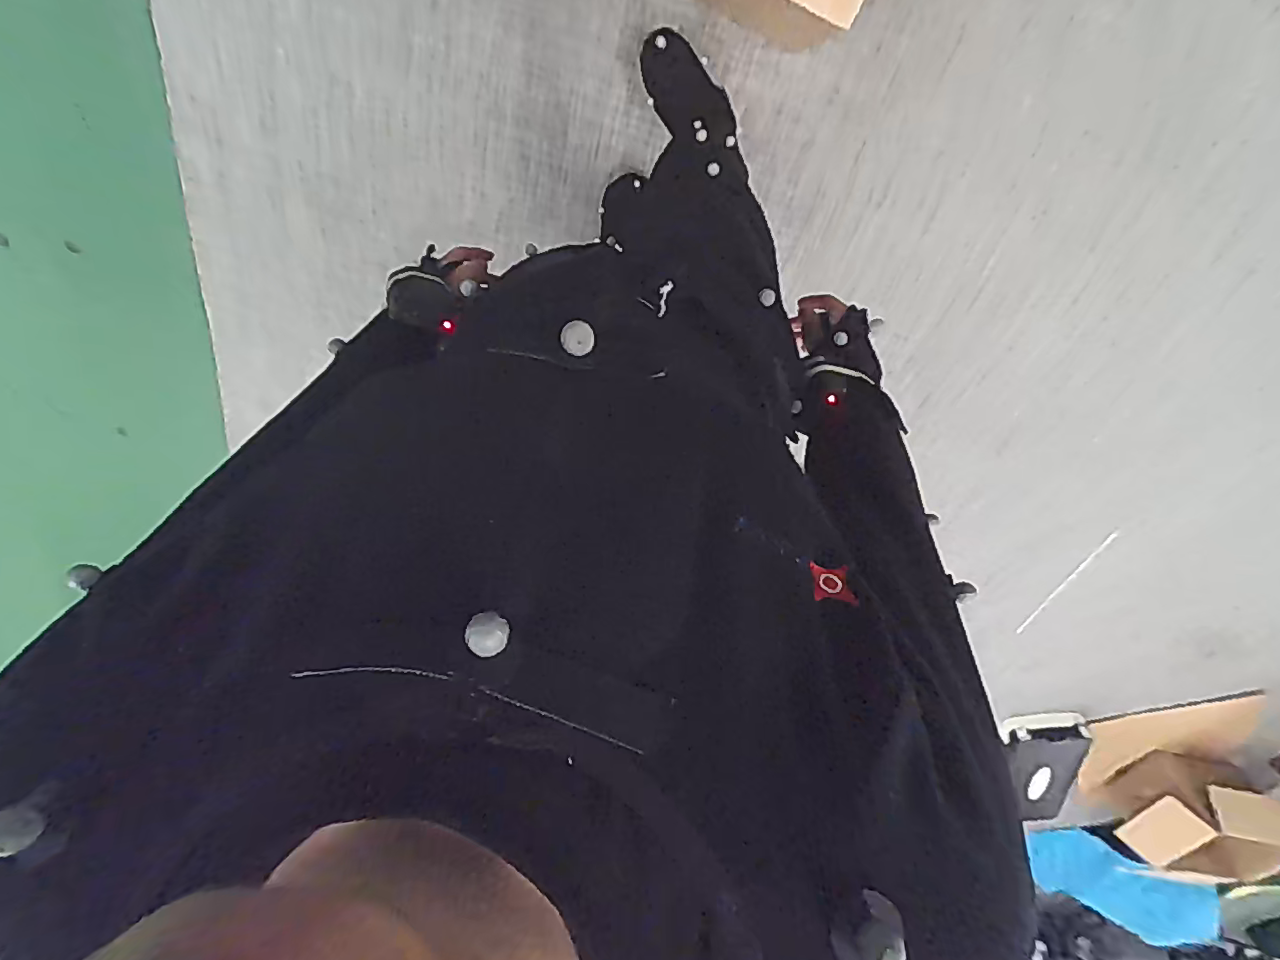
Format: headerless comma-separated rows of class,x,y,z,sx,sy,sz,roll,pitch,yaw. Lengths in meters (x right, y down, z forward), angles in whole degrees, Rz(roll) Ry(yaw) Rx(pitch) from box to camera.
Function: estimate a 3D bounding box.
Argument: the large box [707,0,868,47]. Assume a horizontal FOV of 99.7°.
large box,0.163,-0.882,0.749,0.408,0.320,0.320,18,123,-12
